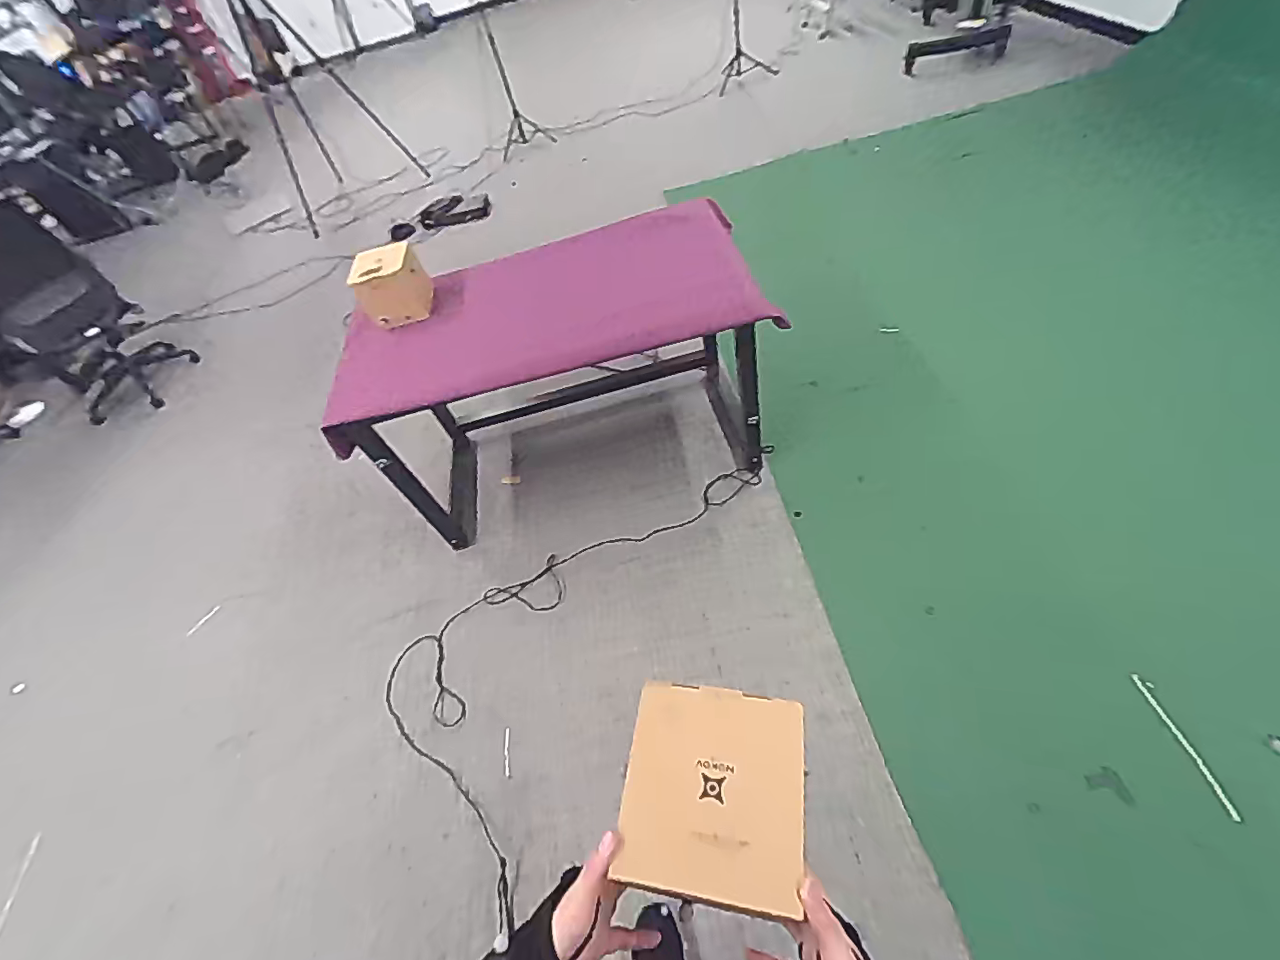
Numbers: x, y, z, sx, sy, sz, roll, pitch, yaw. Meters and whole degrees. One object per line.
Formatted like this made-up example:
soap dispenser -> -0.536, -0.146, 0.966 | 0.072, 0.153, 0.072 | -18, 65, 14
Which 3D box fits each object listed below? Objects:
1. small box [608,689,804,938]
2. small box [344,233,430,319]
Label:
small box -> 0.074, 0.344, 0.562 | 0.168, 0.176, 0.179 | 5, 52, 11
small box -> -0.751, -0.605, 1.625 | 0.168, 0.176, 0.179 | -12, 53, 3
